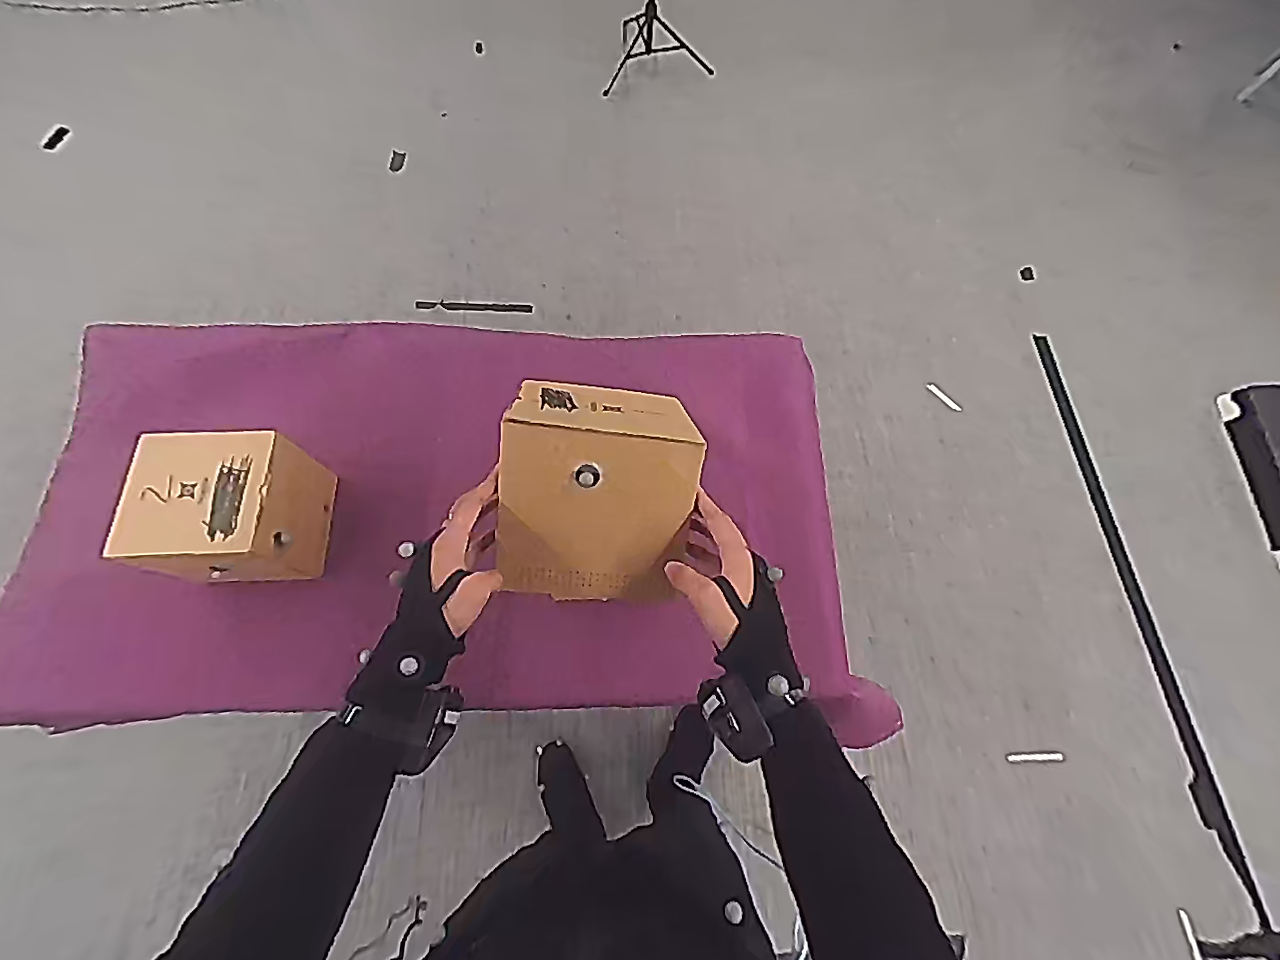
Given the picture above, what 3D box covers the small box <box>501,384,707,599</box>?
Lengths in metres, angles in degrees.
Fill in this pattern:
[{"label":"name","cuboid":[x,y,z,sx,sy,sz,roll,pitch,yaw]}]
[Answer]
[{"label":"small box","cuboid":[-0.043,0.007,0.560,0.179,0.168,0.176,7,110,-8]}]
